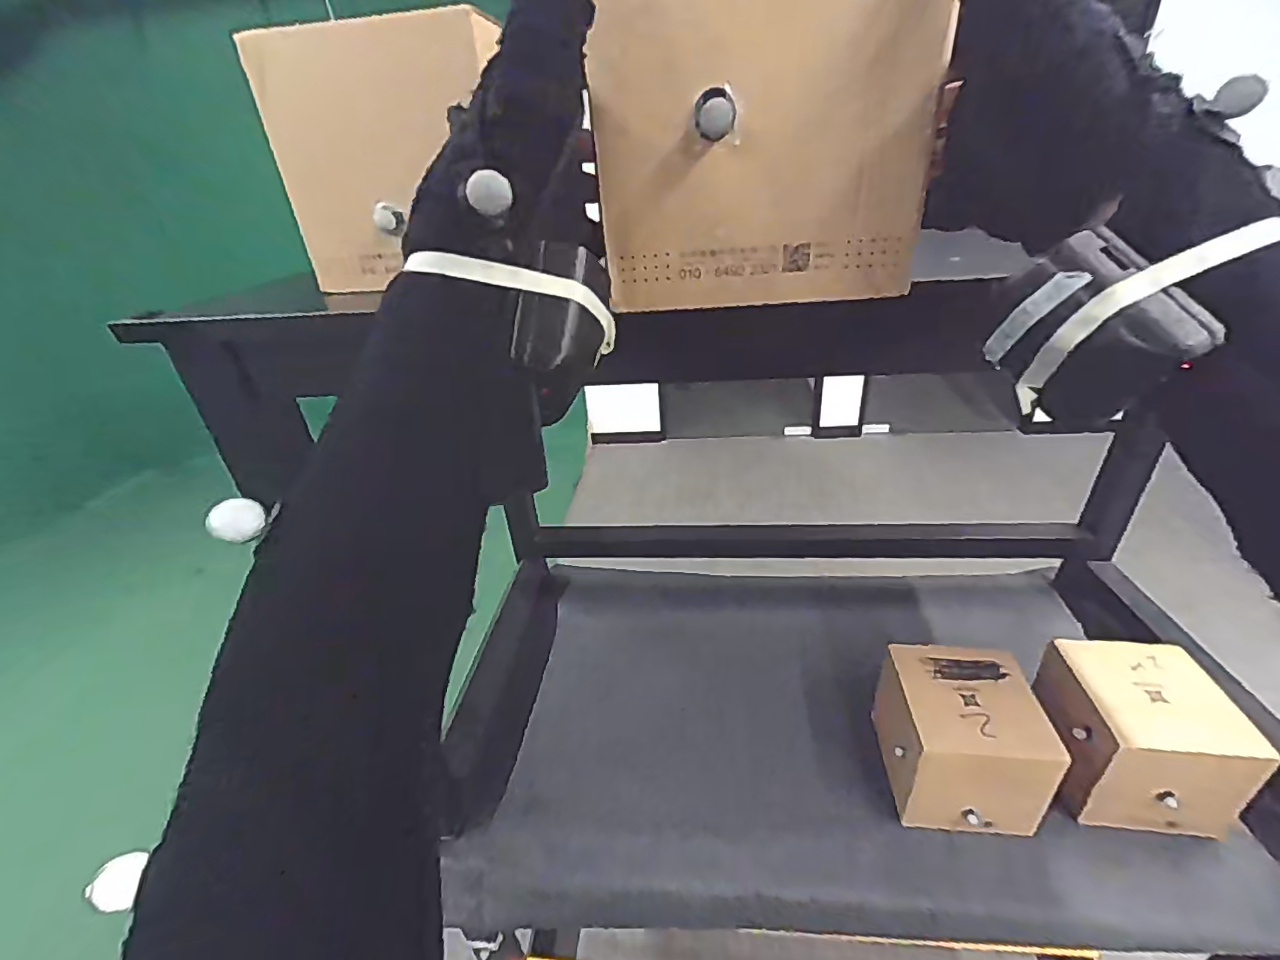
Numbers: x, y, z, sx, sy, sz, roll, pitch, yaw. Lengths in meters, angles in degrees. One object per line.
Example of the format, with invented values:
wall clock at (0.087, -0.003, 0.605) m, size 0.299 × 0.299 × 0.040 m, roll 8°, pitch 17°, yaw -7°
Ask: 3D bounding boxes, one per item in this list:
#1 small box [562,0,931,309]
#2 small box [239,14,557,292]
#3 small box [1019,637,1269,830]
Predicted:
small box at (0.060, -0.207, 0.332) m, size 0.168 × 0.176 × 0.179 m, roll -1°, pitch 31°, yaw 7°
small box at (-0.175, -0.263, 0.460) m, size 0.168 × 0.176 × 0.179 m, roll 0°, pitch 31°, yaw 8°
small box at (0.664, 0.344, 0.744) m, size 0.168 × 0.176 × 0.179 m, roll 1°, pitch 30°, yaw 10°
